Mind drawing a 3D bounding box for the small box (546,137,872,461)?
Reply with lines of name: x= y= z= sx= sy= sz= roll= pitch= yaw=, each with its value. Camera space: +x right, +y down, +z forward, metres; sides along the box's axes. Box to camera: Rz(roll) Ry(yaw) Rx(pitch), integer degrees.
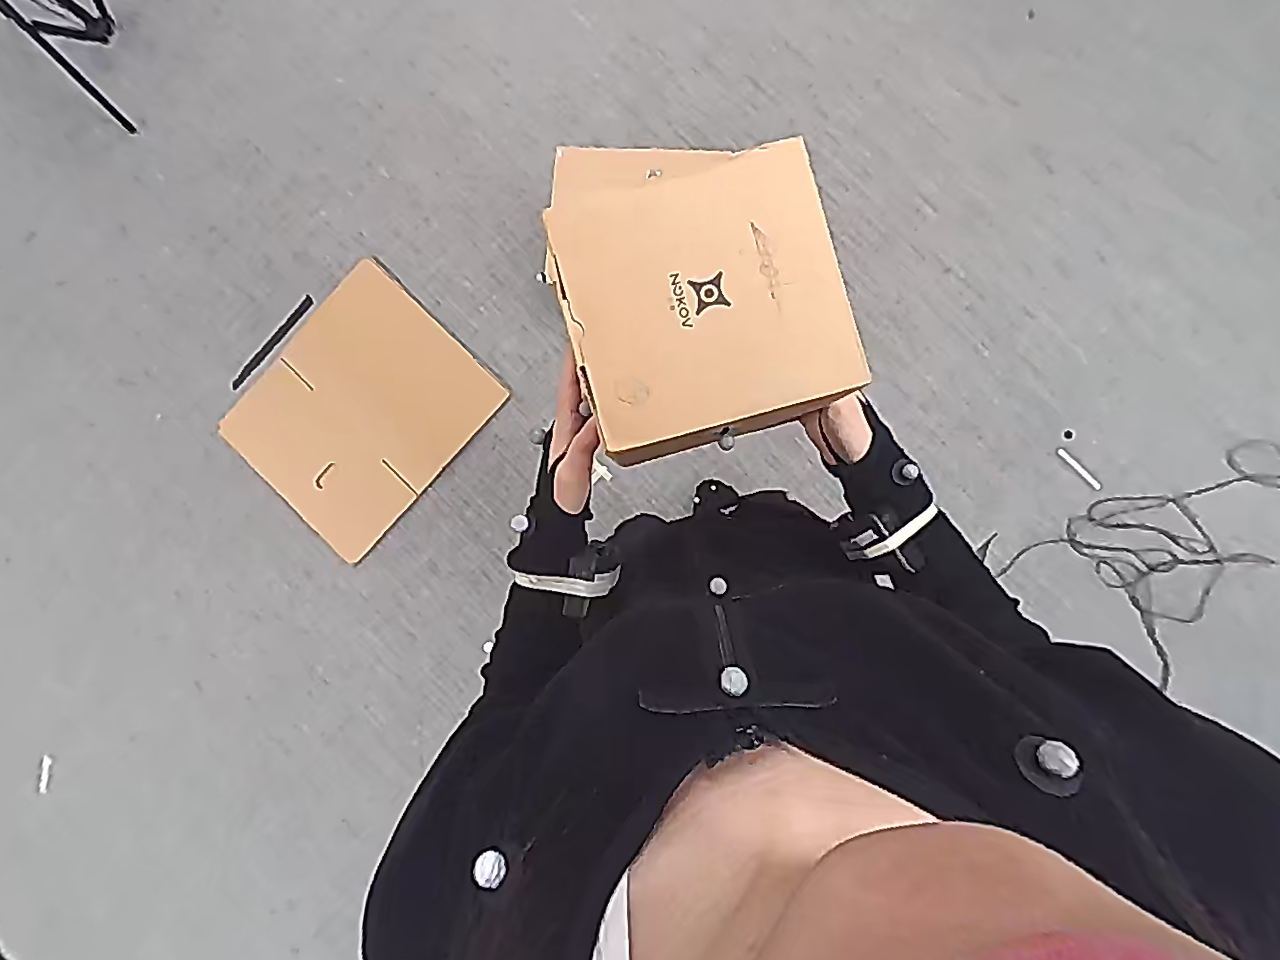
small box: x=0.045 y=-0.116 z=0.422 sx=0.179 sy=0.176 sz=0.168 roll=-16 pitch=89 yaw=1
